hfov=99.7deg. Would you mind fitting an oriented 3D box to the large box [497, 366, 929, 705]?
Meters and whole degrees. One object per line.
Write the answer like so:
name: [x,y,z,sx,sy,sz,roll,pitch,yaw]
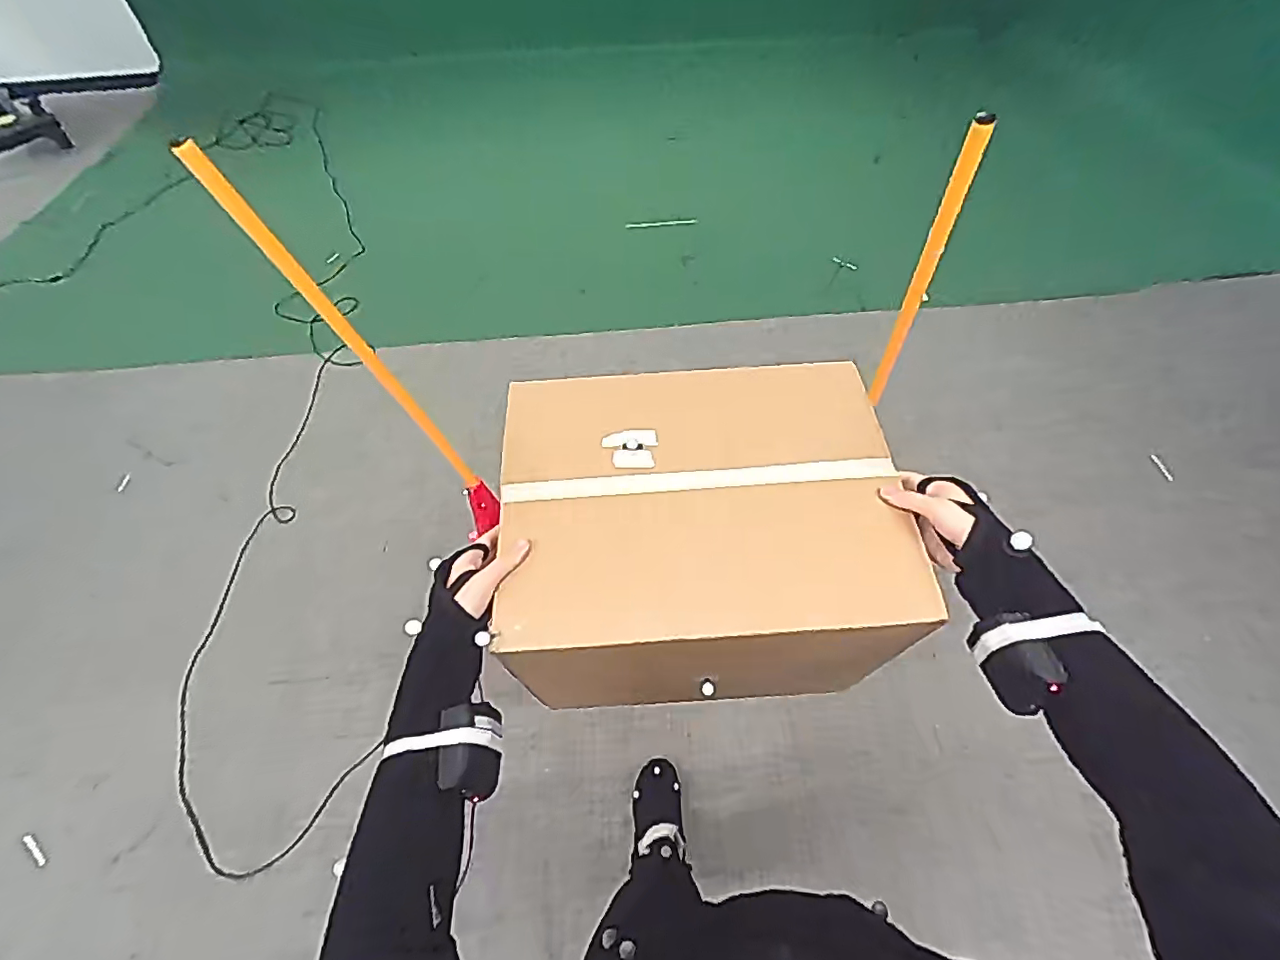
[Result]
large box: [0.064,0.088,0.692,0.408,0.320,0.320,-5,58,0]
